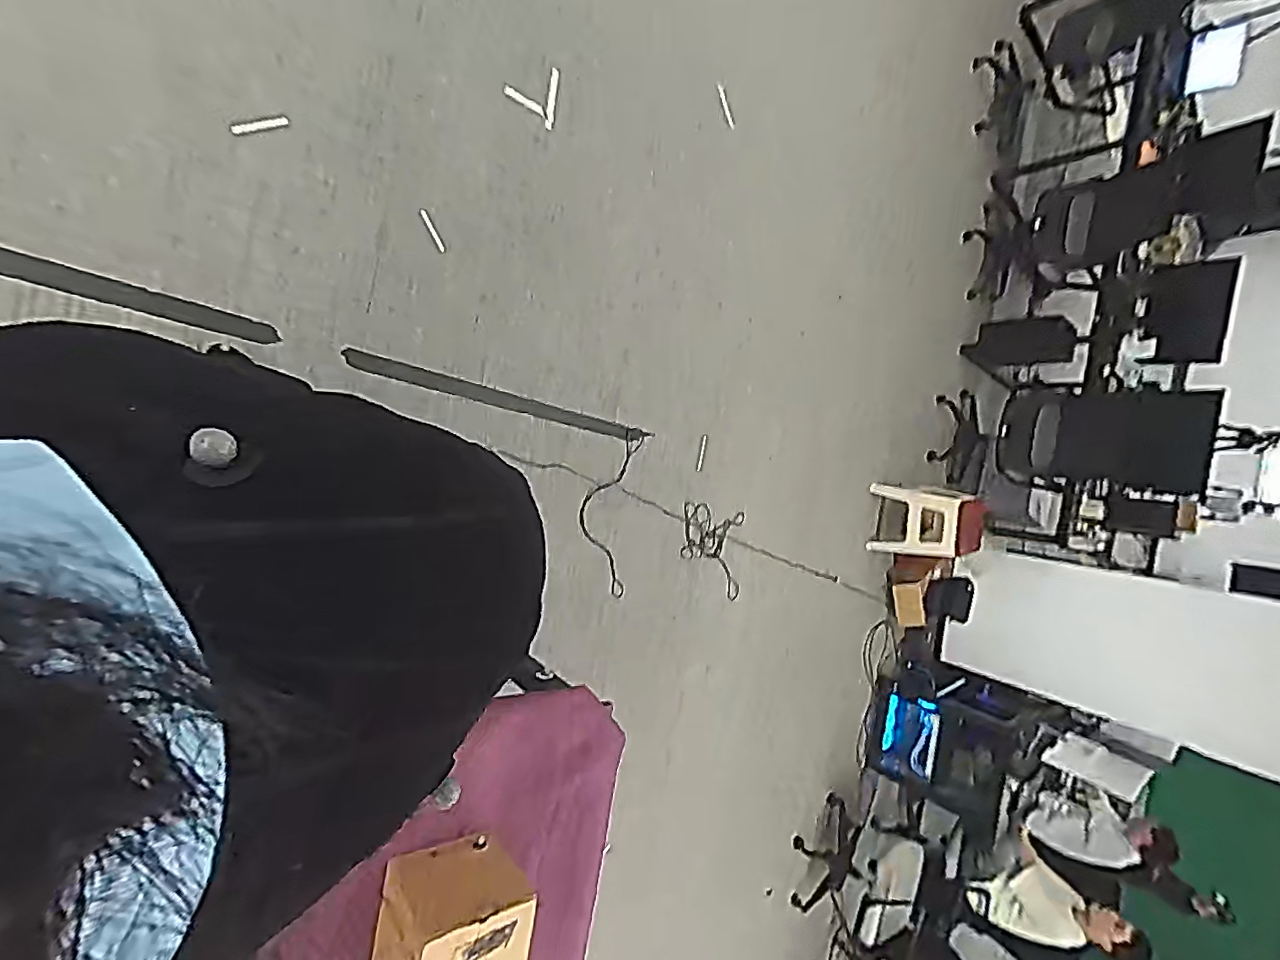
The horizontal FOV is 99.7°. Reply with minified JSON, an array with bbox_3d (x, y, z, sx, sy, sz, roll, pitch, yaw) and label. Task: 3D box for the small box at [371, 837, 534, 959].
[{"bbox_3d":[-0.280,0.667,0.797,0.168,0.176,0.179,10,90,-39],"label":"small box"}]
